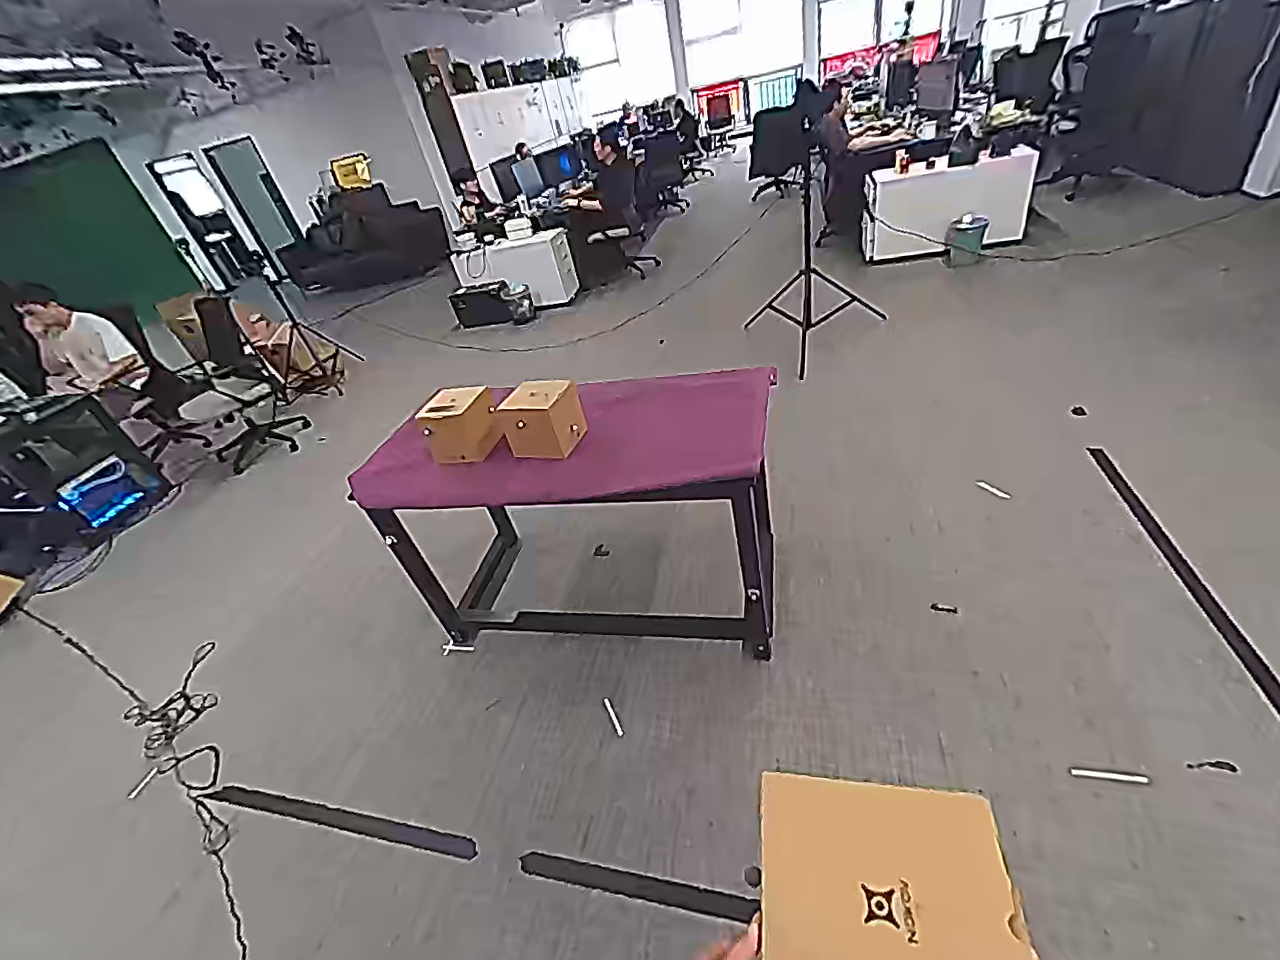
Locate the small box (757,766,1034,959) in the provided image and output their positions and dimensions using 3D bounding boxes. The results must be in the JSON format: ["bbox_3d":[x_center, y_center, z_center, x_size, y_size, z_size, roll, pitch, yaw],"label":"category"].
[{"bbox_3d":[0.186,0.356,0.433,0.179,0.176,0.168,0,42,13],"label":"small box"}]

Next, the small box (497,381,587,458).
[{"bbox_3d":[-0.281,-0.178,1.589,0.179,0.176,0.168,3,39,23],"label":"small box"}]
